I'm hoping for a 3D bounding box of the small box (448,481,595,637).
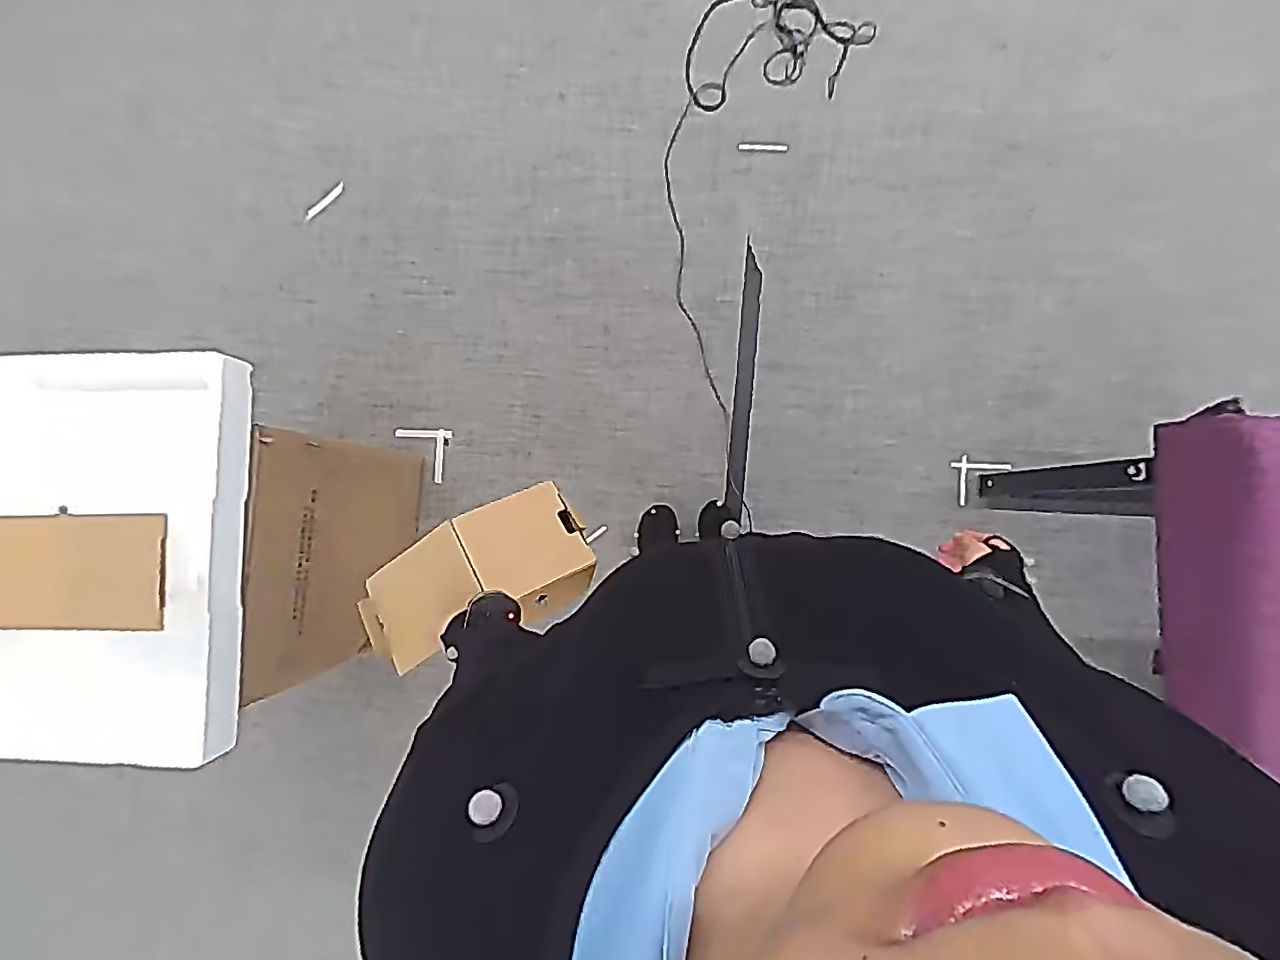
[{"bbox_3d":[-0.192,0.135,0.891,0.179,0.176,0.168,-23,68,-23],"label":"small box"}]
